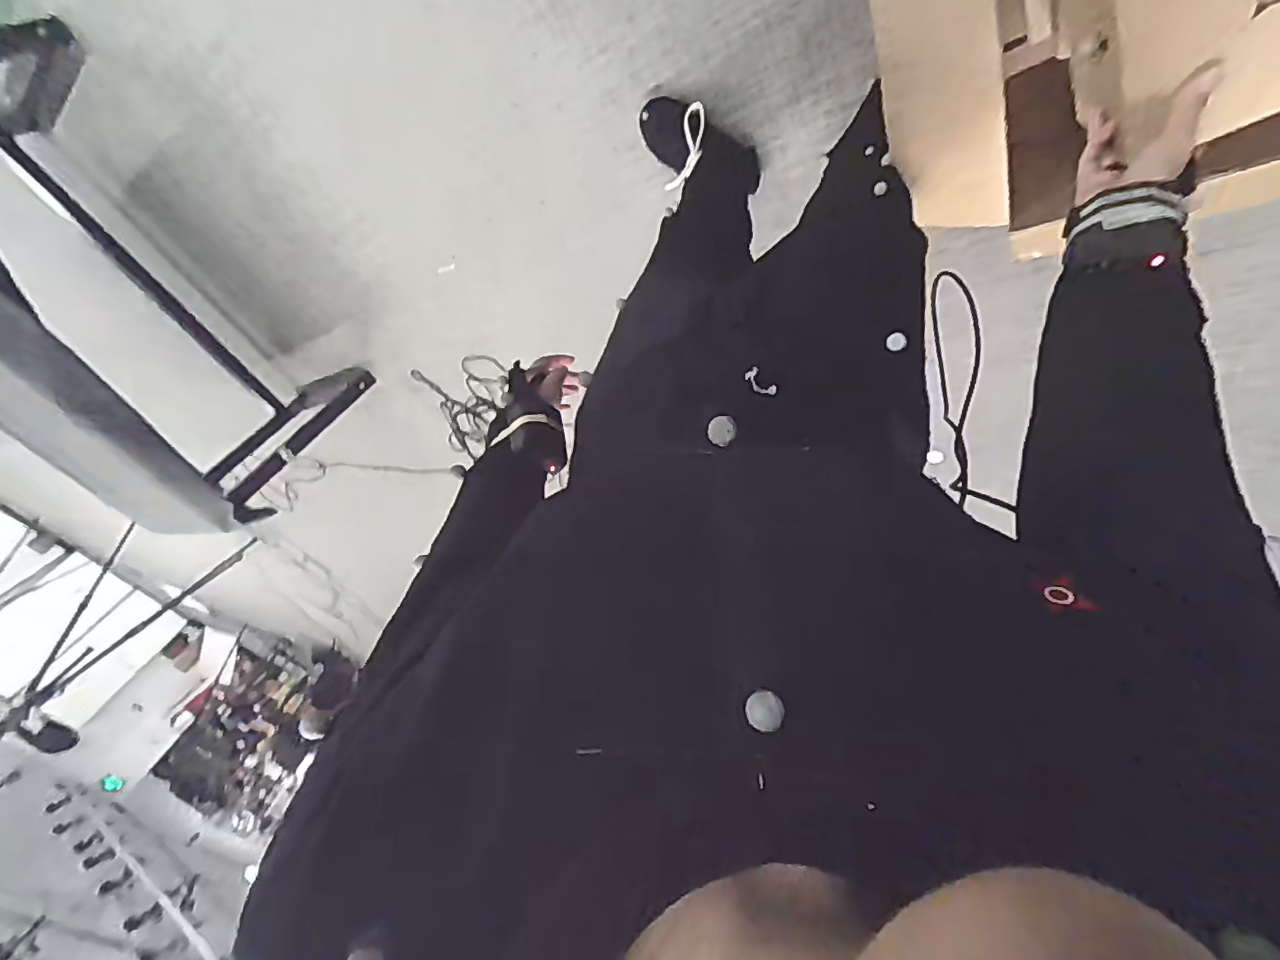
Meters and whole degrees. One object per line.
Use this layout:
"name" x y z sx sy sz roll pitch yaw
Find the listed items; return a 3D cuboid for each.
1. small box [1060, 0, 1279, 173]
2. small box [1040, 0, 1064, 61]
"small box" 0.449 -0.387 0.420 0.168 0.176 0.179 -15 125 34
"small box" 0.507 -0.560 0.526 0.179 0.176 0.168 -1 136 33
